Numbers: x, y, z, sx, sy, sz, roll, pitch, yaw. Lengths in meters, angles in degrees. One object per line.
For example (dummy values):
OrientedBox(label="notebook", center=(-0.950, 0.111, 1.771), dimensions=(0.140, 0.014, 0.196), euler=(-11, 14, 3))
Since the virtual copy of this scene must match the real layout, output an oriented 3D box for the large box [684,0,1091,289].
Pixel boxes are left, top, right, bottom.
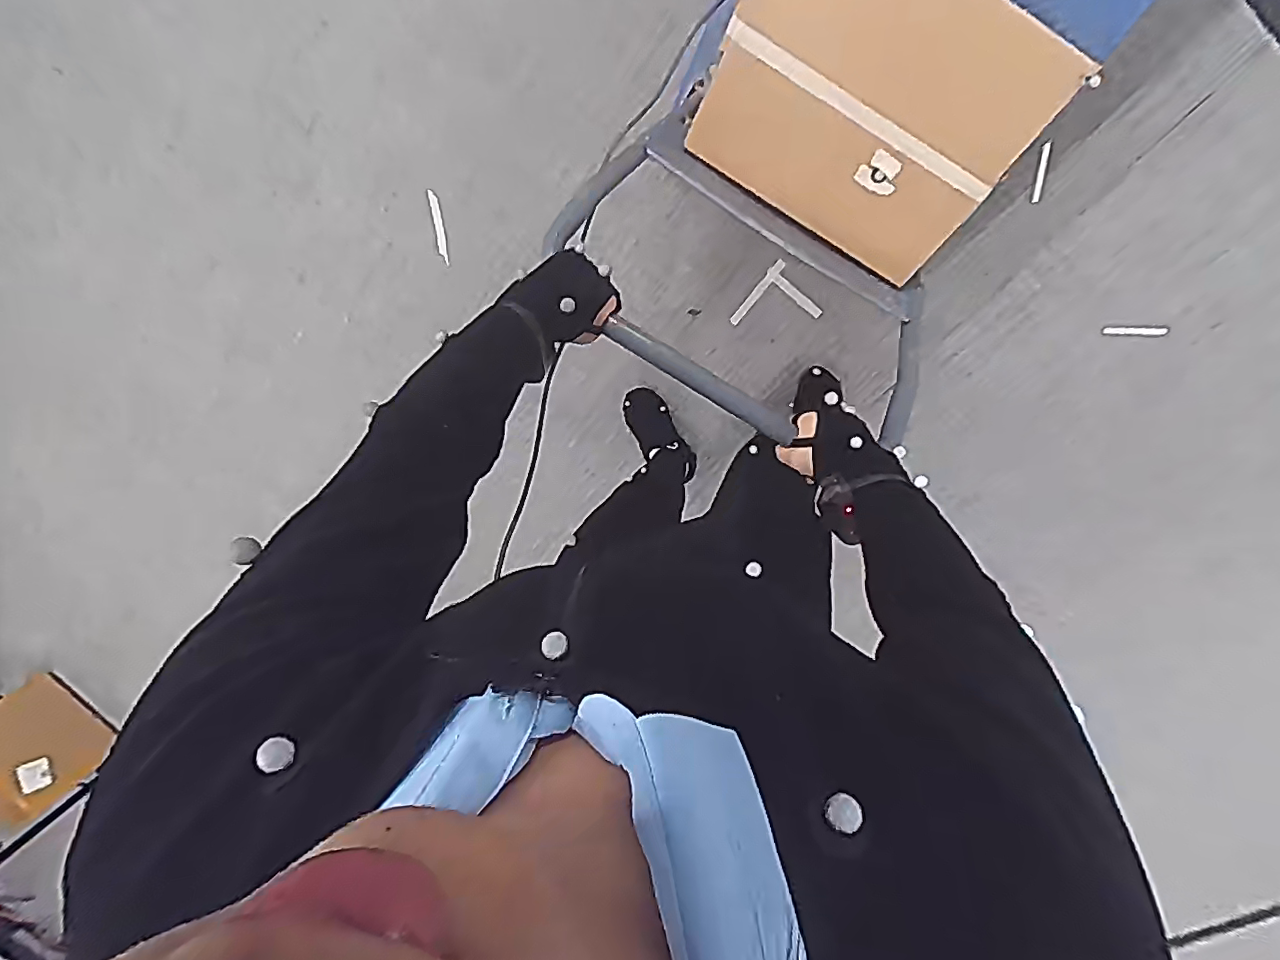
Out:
OrientedBox(label="large box", center=(0.338, -0.575, 0.820), dimensions=(0.408, 0.320, 0.320), euler=(30, 137, -5))
